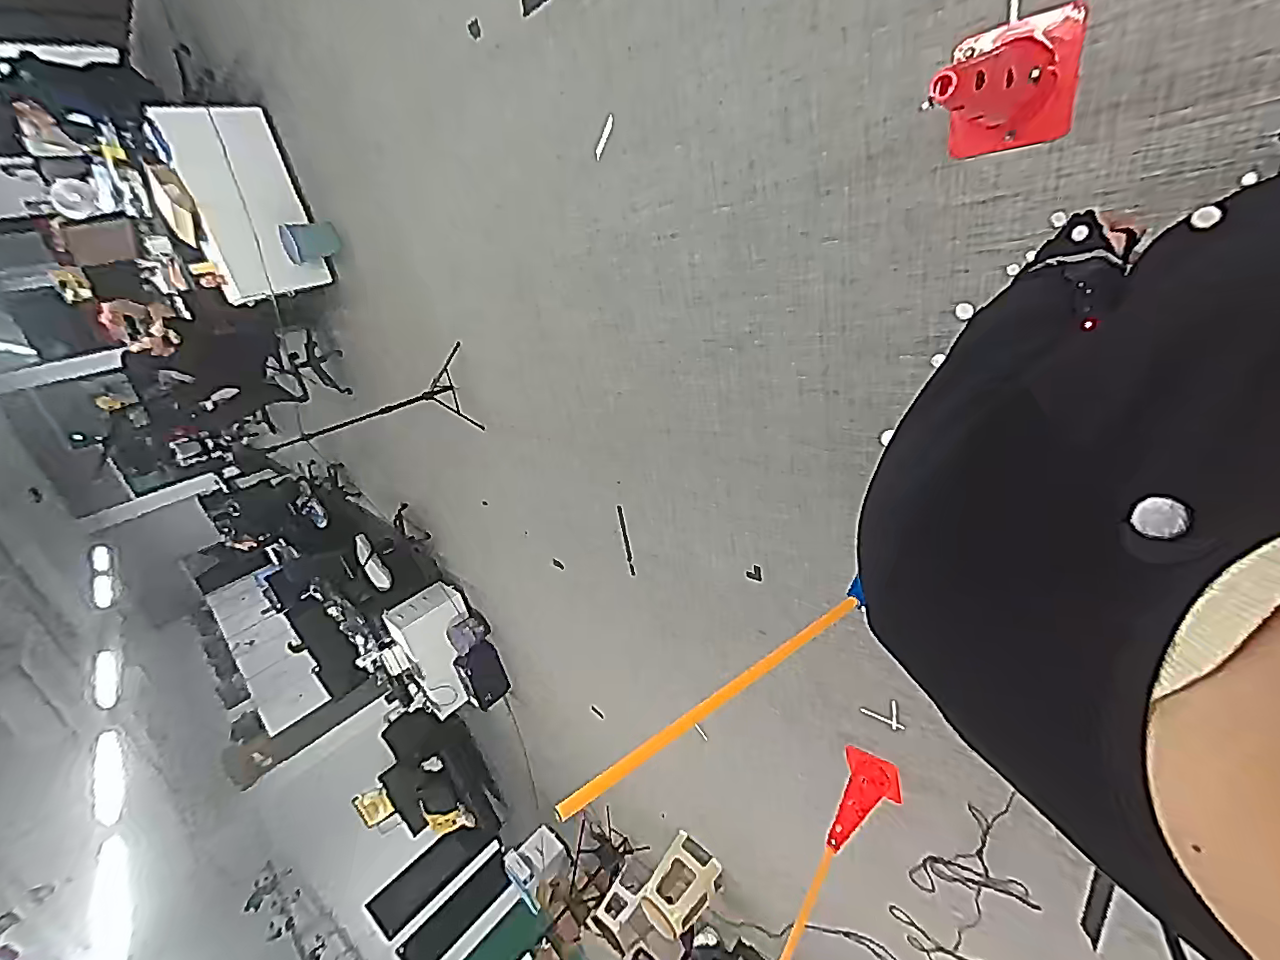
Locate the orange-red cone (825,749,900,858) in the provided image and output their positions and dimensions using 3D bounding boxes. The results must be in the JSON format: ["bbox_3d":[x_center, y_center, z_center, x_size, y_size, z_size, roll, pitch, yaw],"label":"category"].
[{"bbox_3d":[0.768,1.199,1.949,0.199,0.360,0.198,6,120,45],"label":"orange-red cone"}]
